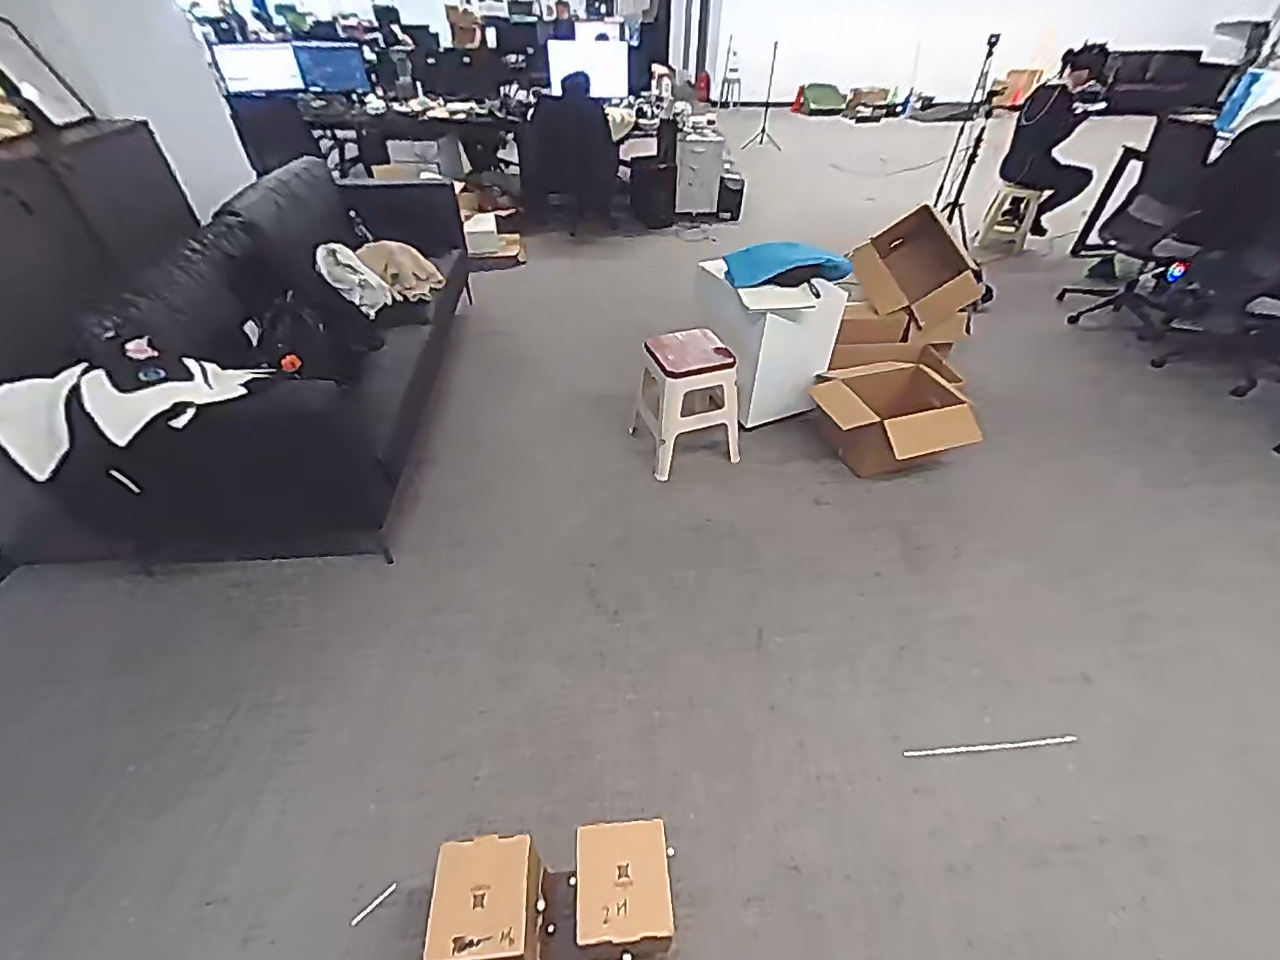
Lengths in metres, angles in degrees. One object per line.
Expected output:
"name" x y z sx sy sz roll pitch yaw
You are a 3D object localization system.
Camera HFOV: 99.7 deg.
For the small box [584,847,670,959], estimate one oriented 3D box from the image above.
"small box" -0.029 0.892 1.121 0.168 0.176 0.179 -3 41 -4
